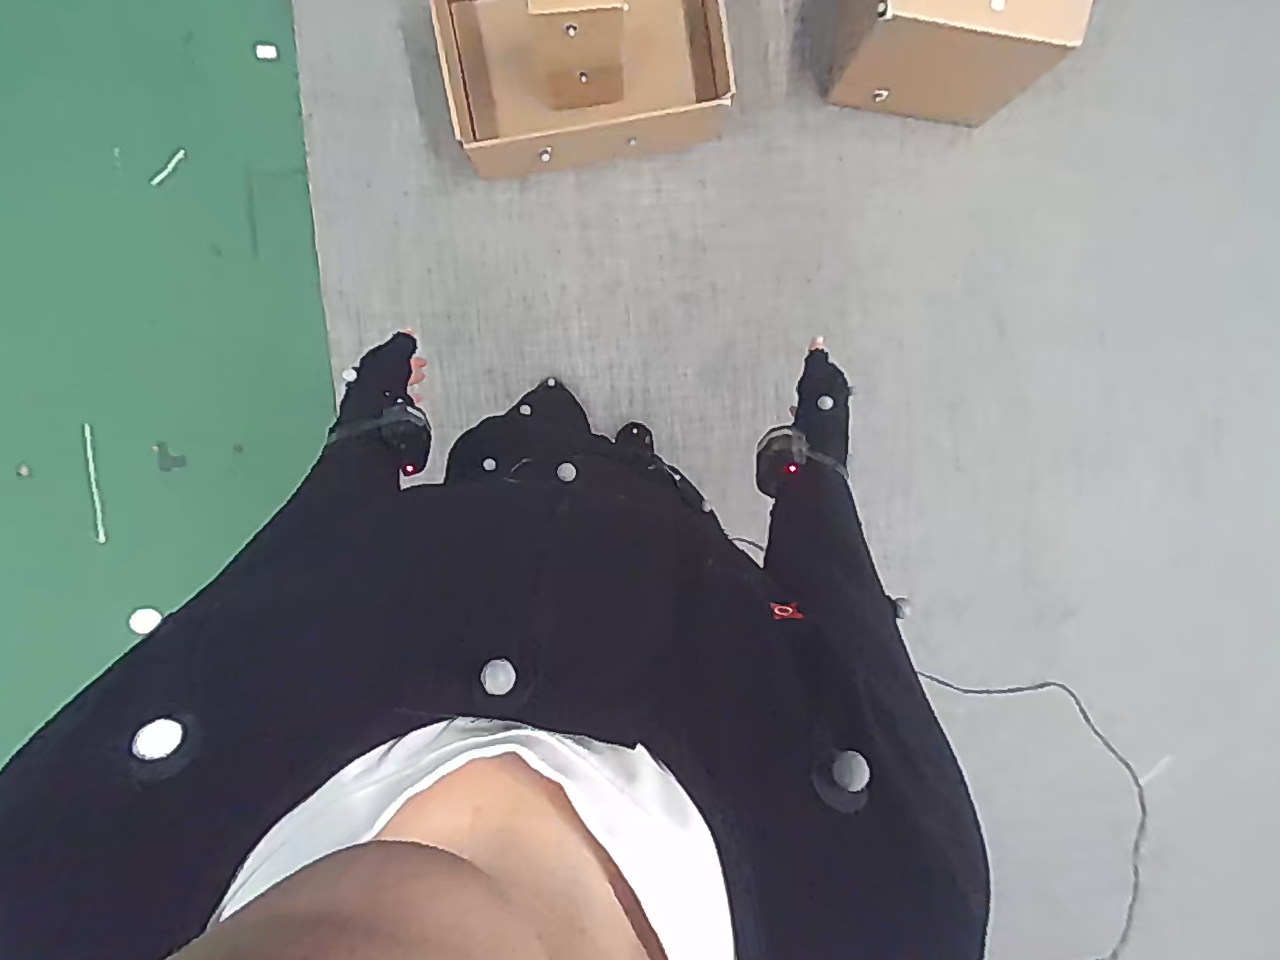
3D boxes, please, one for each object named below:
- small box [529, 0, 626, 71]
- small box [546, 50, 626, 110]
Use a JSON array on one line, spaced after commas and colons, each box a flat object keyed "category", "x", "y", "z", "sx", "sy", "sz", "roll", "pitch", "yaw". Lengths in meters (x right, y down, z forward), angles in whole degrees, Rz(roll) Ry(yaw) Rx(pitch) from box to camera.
[{"category": "small box", "x": -0.121, "y": -0.937, "z": 1.054, "sx": 0.179, "sy": 0.176, "sz": 0.168, "roll": -6, "pitch": 97, "yaw": -2}, {"category": "small box", "x": -0.127, "y": -0.969, "z": 1.216, "sx": 0.179, "sy": 0.176, "sz": 0.168, "roll": -9, "pitch": 98, "yaw": -2}]
